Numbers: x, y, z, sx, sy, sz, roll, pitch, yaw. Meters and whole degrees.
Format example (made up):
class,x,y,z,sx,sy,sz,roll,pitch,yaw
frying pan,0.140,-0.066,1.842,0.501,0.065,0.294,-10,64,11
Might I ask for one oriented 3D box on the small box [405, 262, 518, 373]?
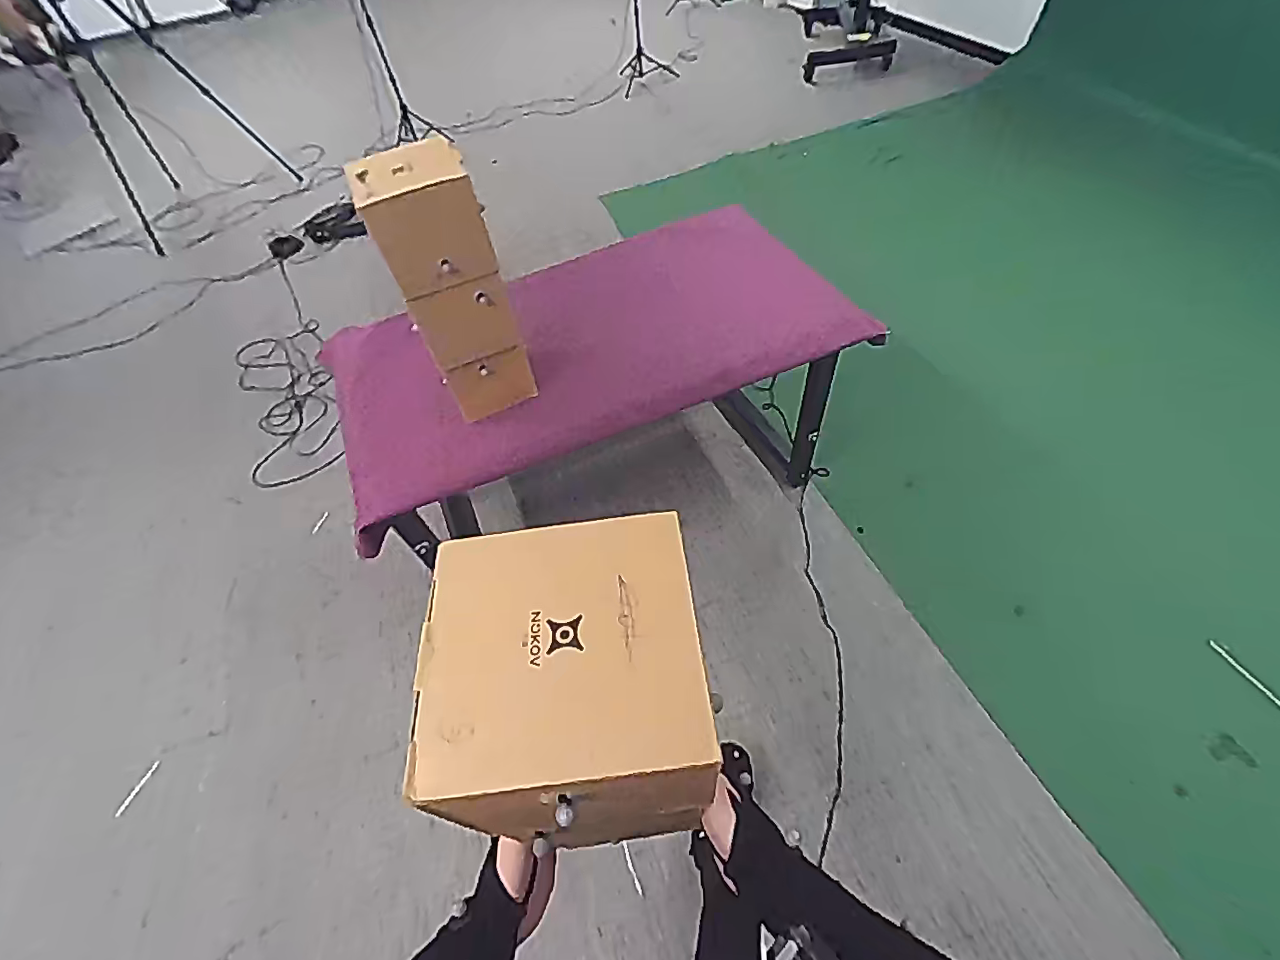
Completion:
class,x,y,z,sx,sy,sz,roll,pitch,yaw
small box,-0.353,-0.344,1.067,0.179,0.176,0.168,-23,55,-9

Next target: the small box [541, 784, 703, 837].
class,x,y,z,sx,sy,sz,roll,pitch,yaw
small box,-0.020,0.333,0.677,0.179,0.176,0.168,-8,51,-1

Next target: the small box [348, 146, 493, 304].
class,x,y,z,sx,sy,sz,roll,pitch,yaw
small box,-0.368,-0.436,0.933,0.179,0.176,0.168,-23,55,-10

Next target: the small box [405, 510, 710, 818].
class,x,y,z,sx,sy,sz,roll,pitch,yaw
small box,-0.045,0.145,0.410,0.179,0.176,0.168,-7,52,1

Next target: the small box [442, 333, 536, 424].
class,x,y,z,sx,sy,sz,roll,pitch,yaw
small box,-0.344,-0.259,1.209,0.179,0.176,0.168,-25,56,-10
